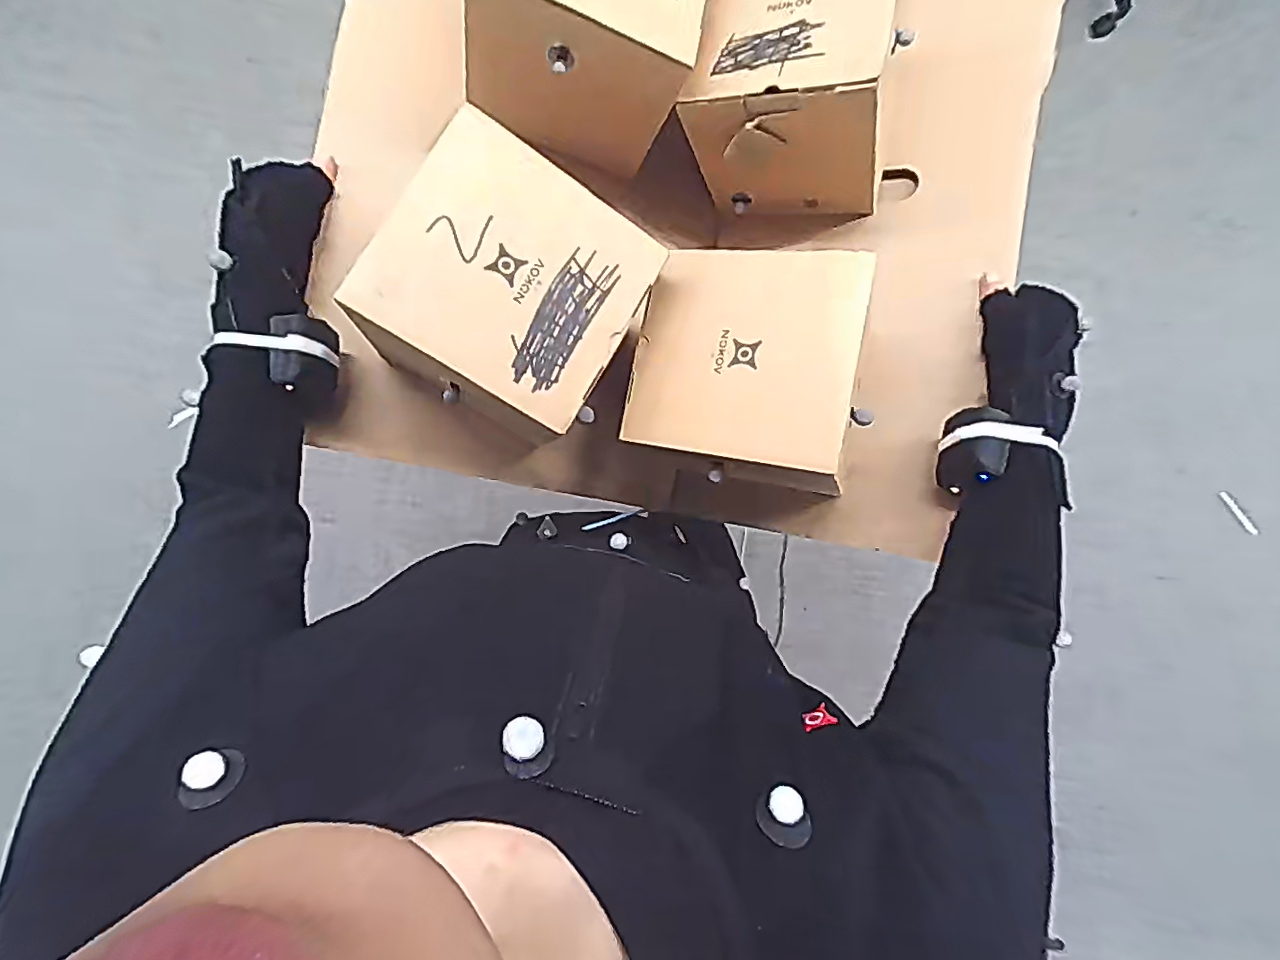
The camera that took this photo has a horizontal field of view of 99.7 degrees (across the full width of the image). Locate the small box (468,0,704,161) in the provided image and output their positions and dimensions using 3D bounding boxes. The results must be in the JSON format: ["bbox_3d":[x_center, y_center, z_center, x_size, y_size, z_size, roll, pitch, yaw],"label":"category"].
[{"bbox_3d":[-0.047,-0.422,0.473,0.179,0.176,0.168,13,88,-17],"label":"small box"}]
